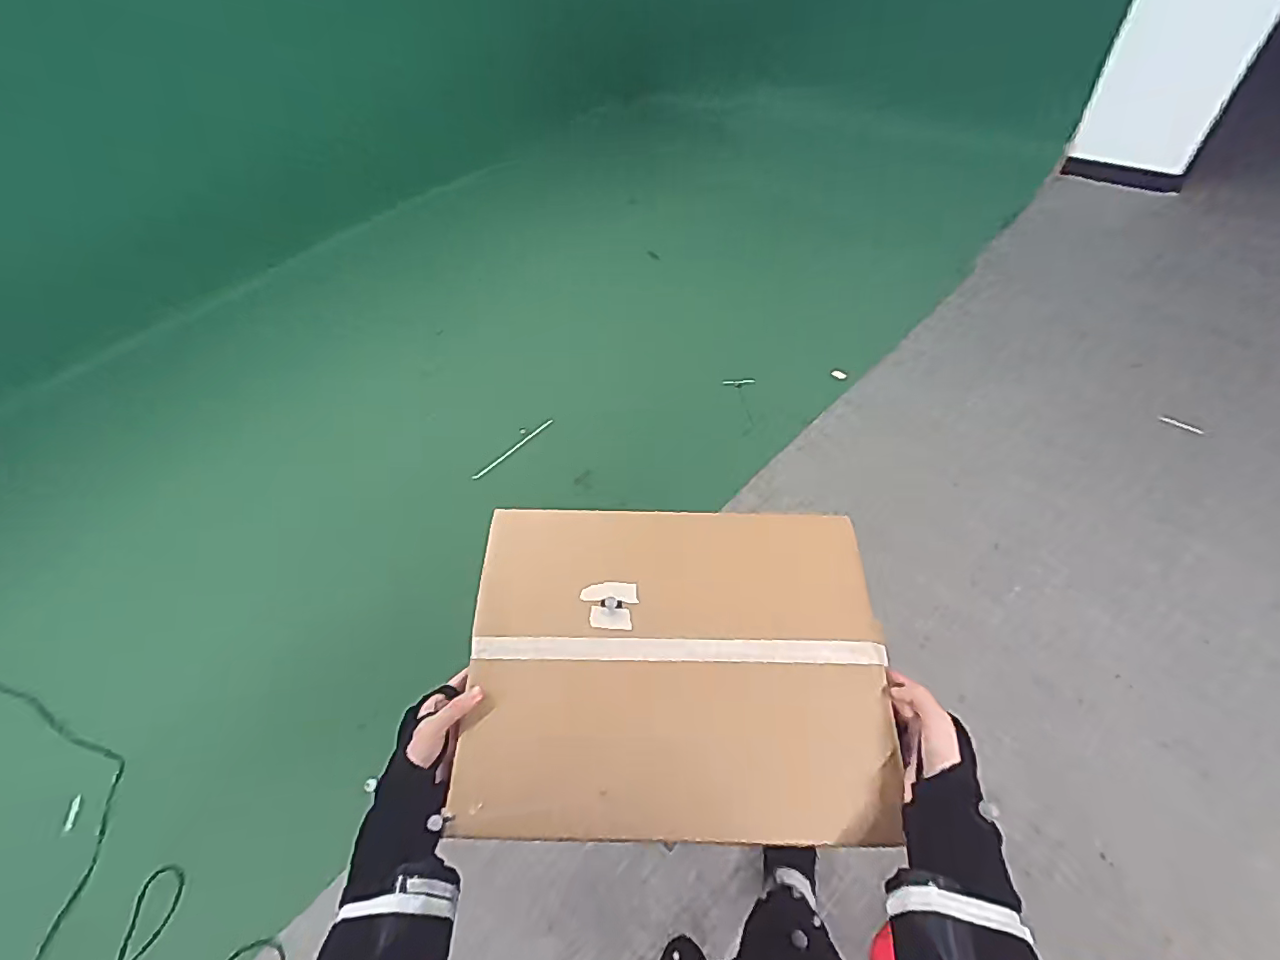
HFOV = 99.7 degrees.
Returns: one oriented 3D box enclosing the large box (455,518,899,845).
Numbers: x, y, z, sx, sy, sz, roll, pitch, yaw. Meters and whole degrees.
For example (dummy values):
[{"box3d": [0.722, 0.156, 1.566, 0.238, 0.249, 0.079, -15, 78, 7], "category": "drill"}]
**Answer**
[{"box3d": [0.038, 0.252, 0.680, 0.408, 0.320, 0.320, 2, 60, 1], "category": "large box"}]
